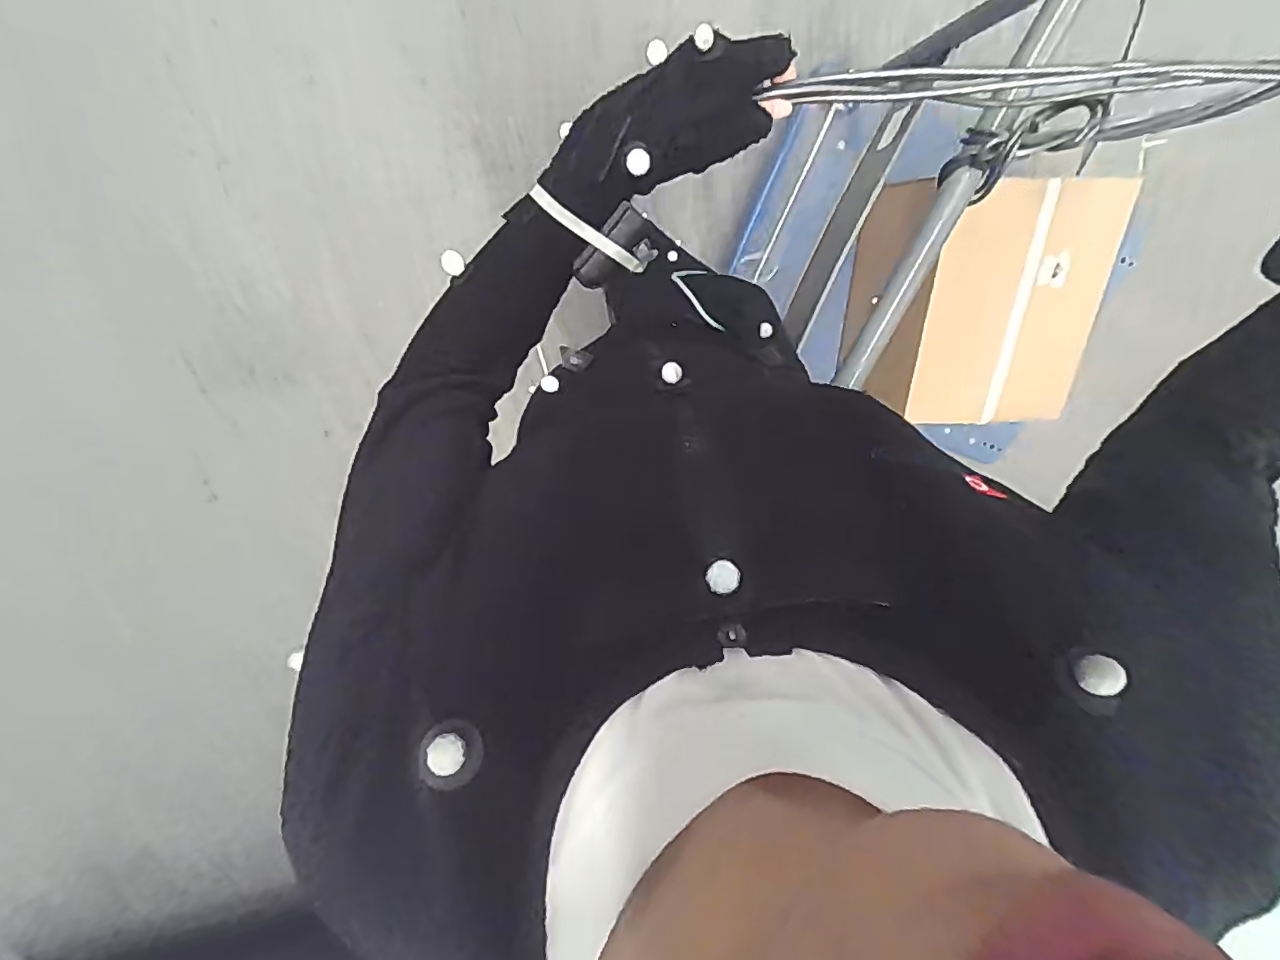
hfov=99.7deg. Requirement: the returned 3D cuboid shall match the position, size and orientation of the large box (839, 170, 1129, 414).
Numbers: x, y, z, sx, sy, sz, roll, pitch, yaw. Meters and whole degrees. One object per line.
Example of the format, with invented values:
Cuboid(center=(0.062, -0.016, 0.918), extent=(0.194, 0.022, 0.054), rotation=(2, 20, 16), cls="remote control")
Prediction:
Cuboid(center=(0.626, -0.368, 1.073), extent=(0.320, 0.320, 0.408), rotation=(-2, 114, -5), cls="large box")
